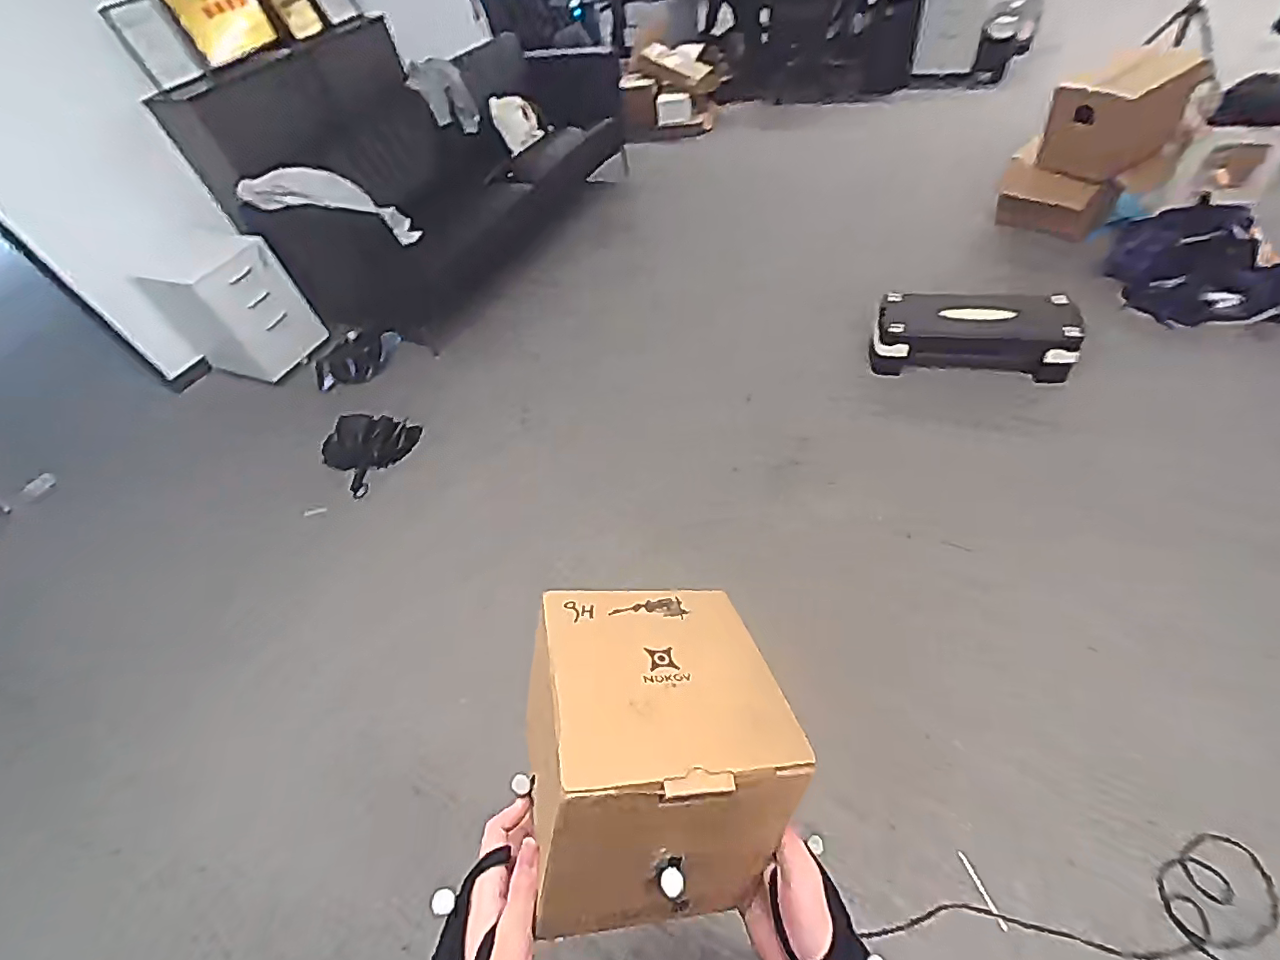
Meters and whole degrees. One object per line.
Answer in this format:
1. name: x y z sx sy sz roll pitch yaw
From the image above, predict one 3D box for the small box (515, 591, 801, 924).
1. small box: -0.006 0.208 0.424 0.168 0.176 0.179 4 29 -16
